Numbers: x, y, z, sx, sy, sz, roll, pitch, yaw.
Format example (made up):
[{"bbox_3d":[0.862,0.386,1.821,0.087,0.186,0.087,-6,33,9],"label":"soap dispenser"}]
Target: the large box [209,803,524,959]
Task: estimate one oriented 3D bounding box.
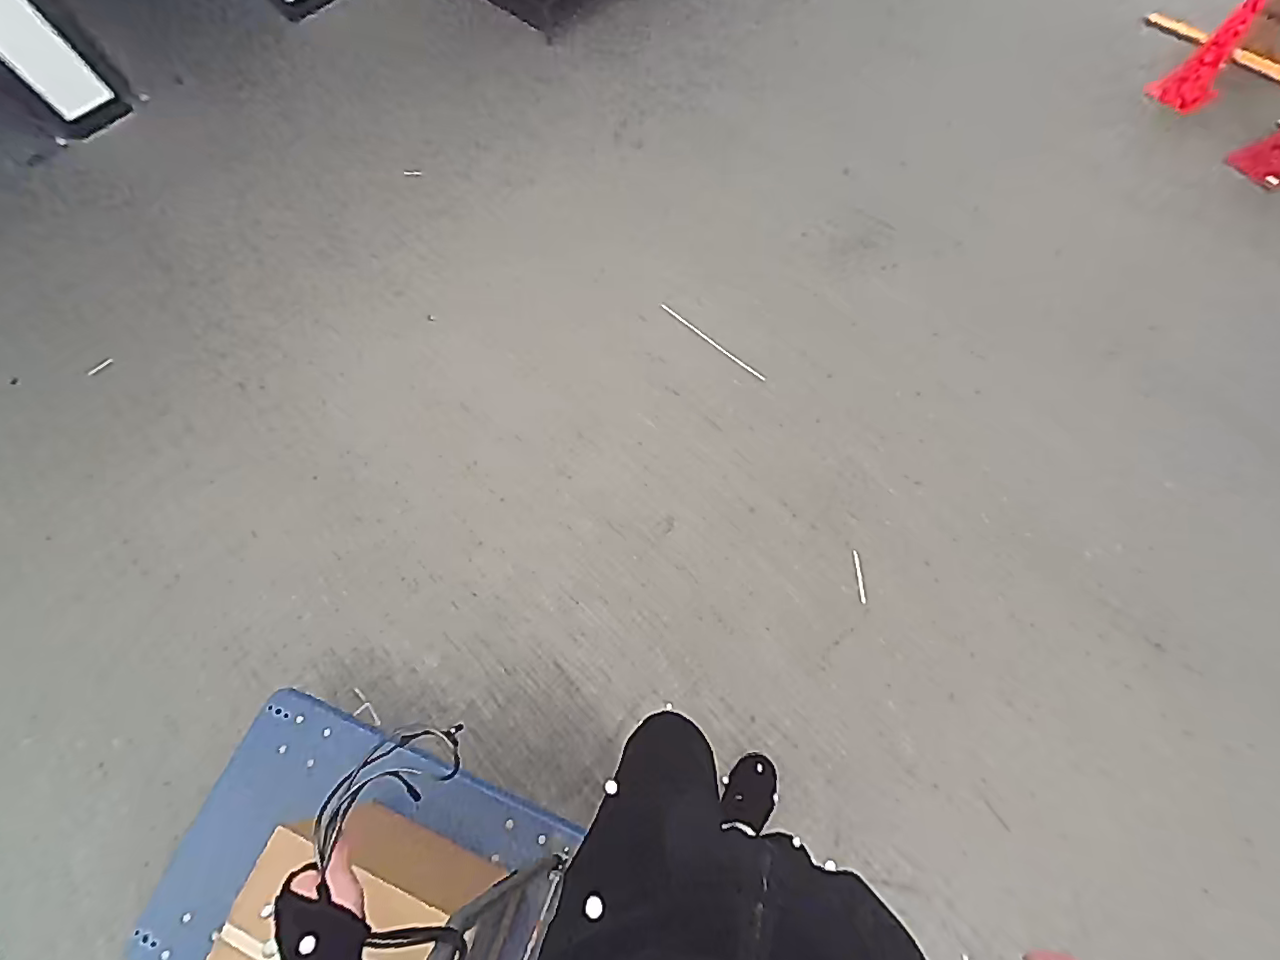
[{"bbox_3d":[-0.486,0.857,0.994,0.408,0.320,0.320,17,69,13],"label":"large box"}]
